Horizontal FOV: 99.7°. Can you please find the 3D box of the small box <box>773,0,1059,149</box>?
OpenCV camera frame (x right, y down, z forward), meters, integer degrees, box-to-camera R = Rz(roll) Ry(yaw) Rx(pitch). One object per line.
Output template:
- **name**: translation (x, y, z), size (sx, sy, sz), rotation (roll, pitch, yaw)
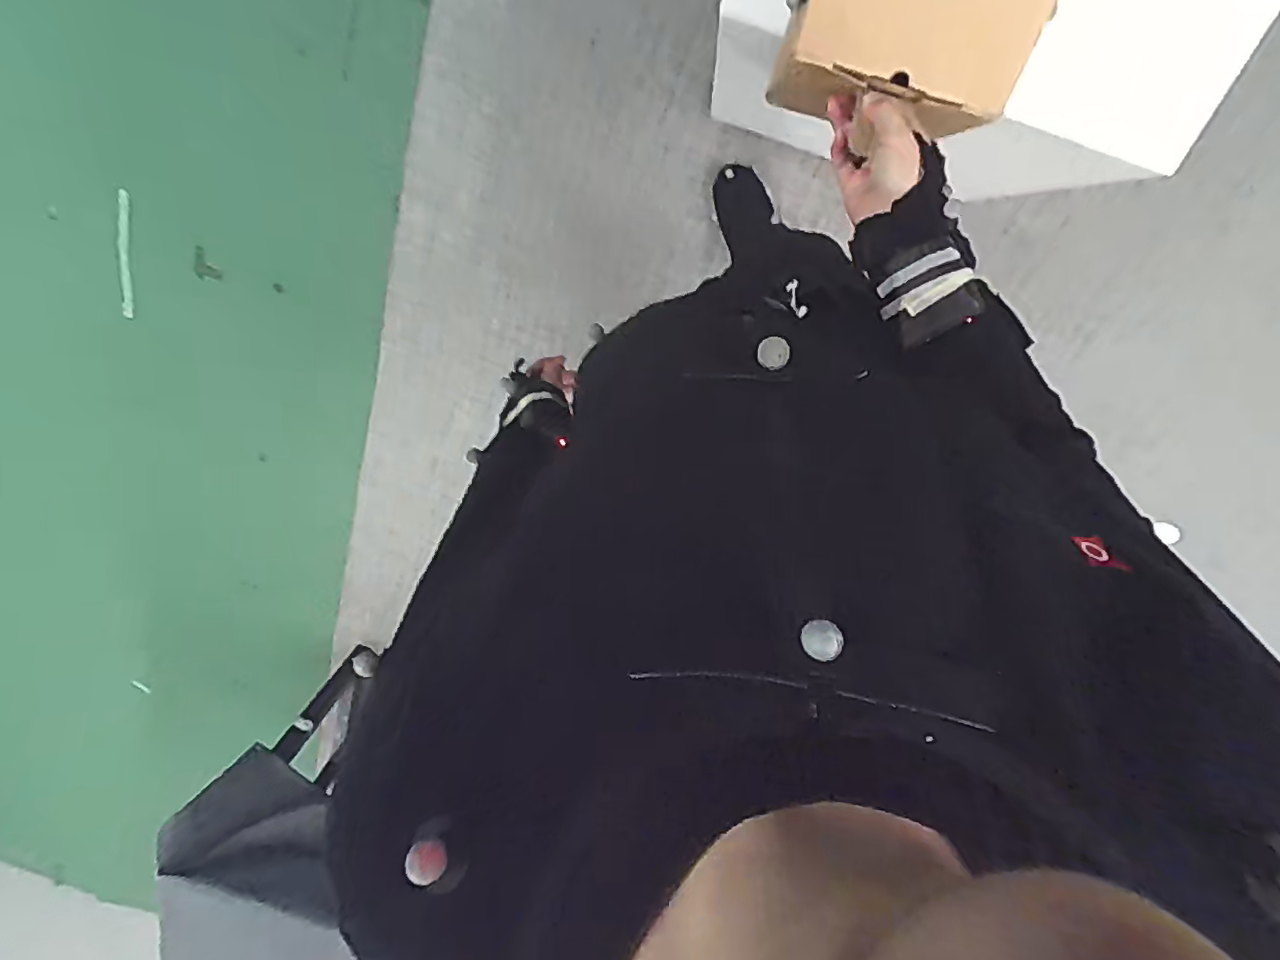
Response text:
- **small box**: translation (0.220, -0.396, 0.438), size (0.168, 0.176, 0.179), rotation (15, 116, -2)
